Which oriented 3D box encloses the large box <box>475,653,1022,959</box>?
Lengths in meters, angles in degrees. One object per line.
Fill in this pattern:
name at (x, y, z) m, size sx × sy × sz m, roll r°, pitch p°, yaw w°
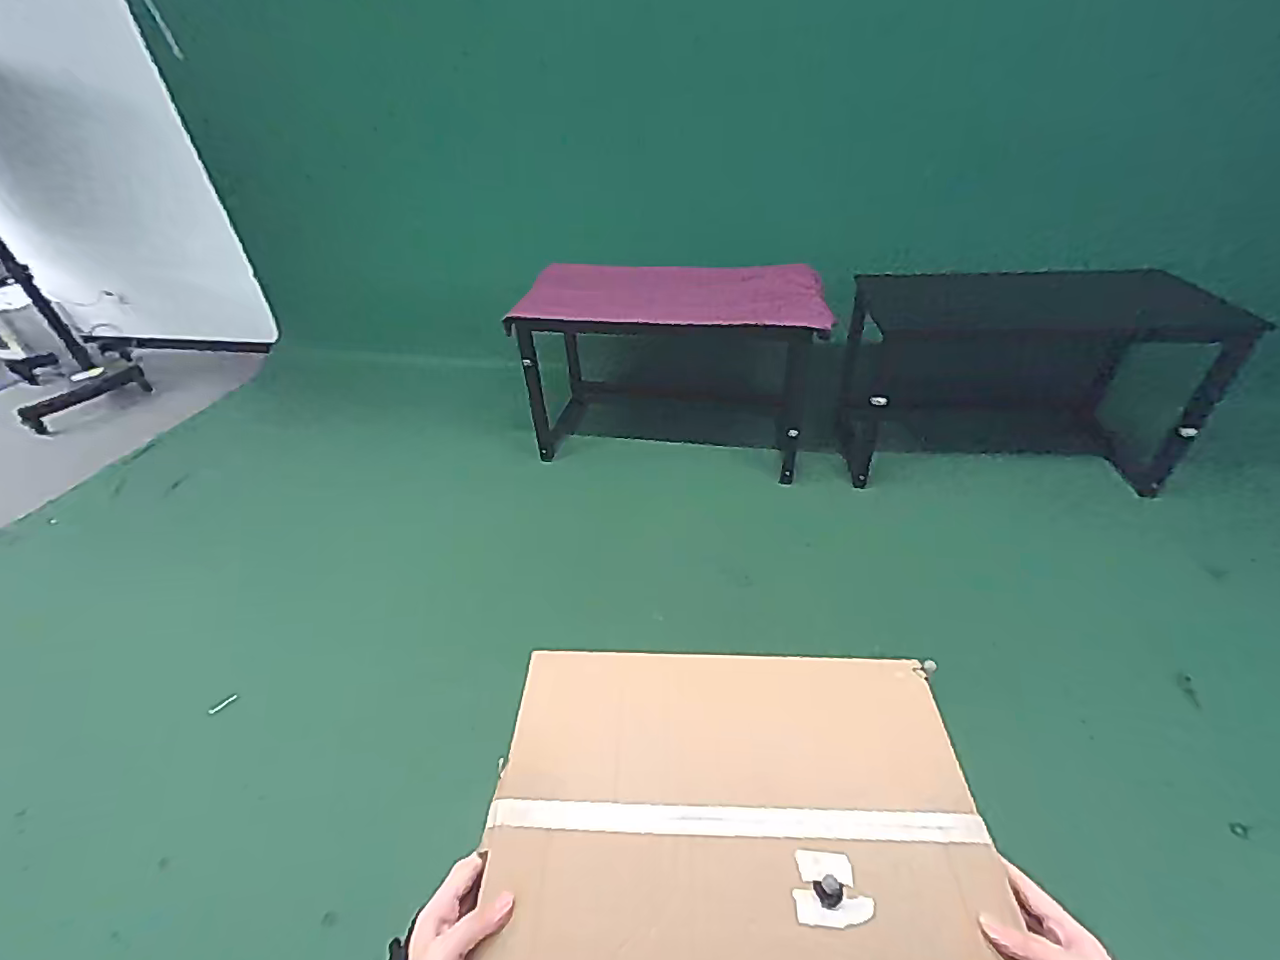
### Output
large box at (0.080, 0.402, 0.557) m, size 0.408 × 0.320 × 0.320 m, roll 1°, pitch 40°, yaw 2°
